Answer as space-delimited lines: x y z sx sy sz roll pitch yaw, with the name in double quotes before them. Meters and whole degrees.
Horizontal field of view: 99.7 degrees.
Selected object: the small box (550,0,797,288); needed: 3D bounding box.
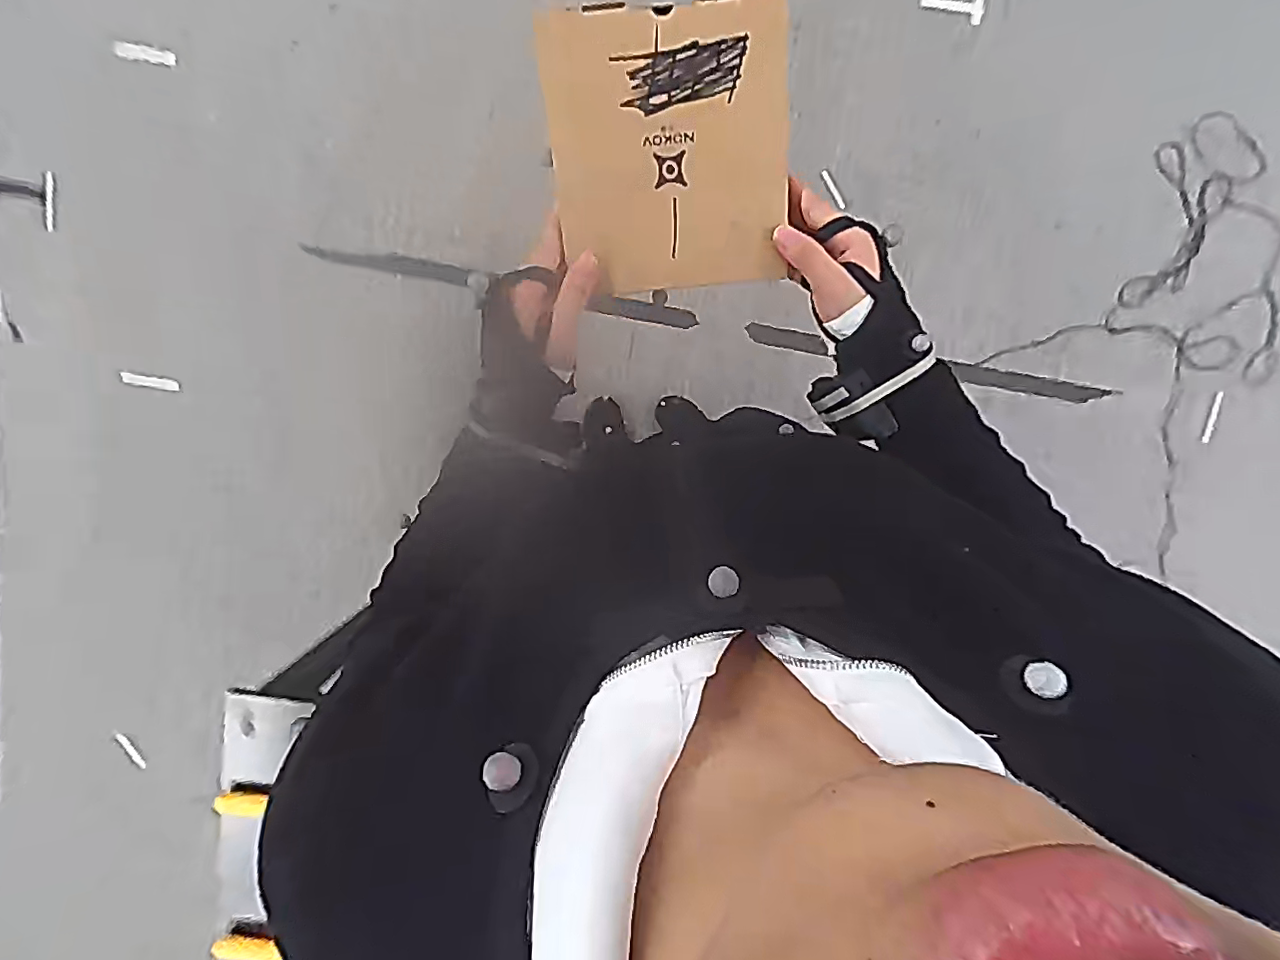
"small box" 0.022 -0.257 0.450 0.168 0.176 0.179 -4 111 -1
